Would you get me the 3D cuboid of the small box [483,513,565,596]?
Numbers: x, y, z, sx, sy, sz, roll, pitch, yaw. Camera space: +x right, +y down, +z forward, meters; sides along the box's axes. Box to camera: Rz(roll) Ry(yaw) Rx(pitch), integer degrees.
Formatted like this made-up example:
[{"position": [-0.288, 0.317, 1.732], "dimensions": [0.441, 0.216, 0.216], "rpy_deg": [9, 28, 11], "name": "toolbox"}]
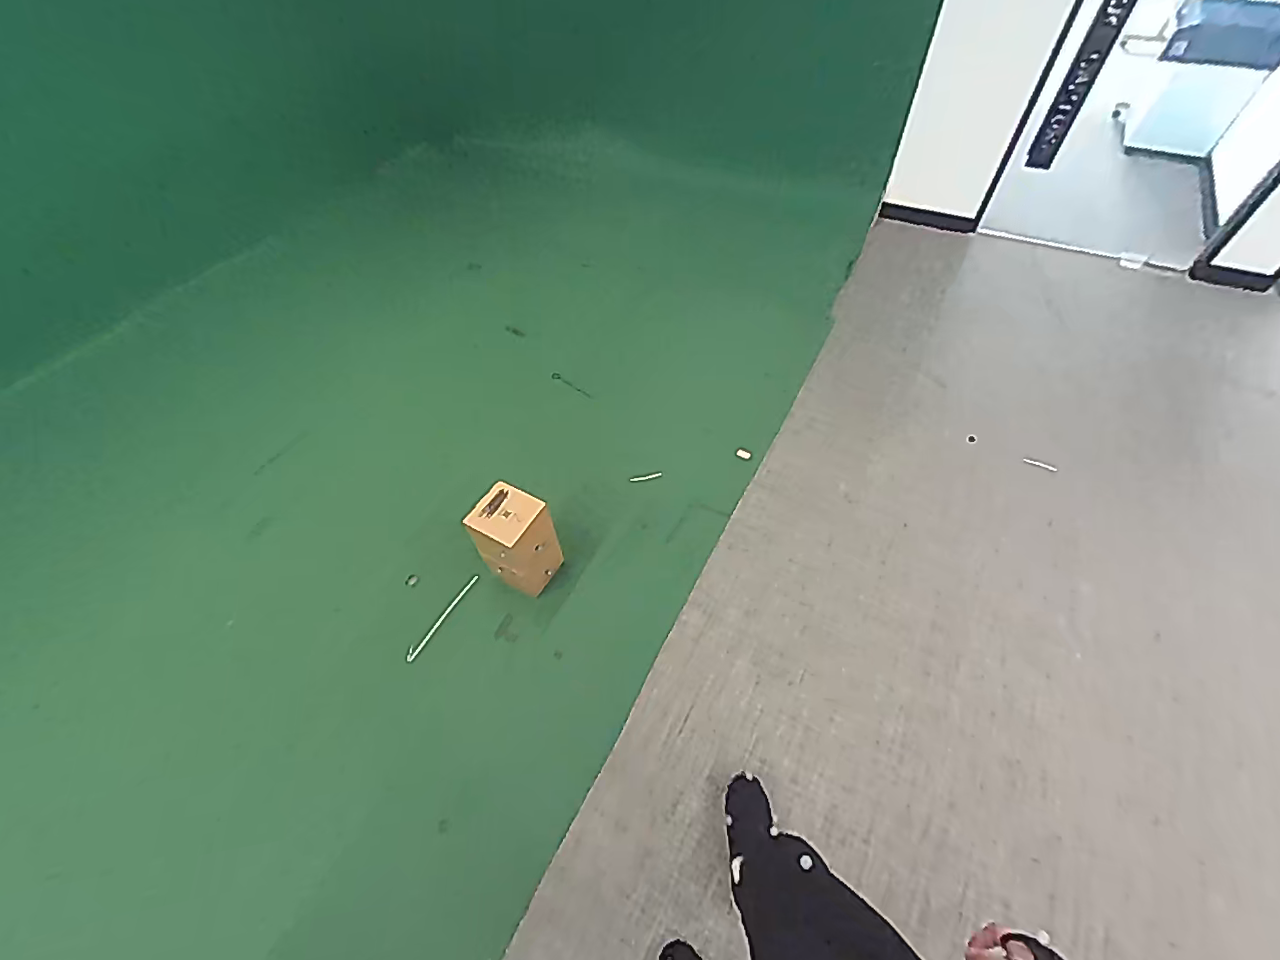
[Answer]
[{"position": [-0.360, 0.242, 1.713], "dimensions": [0.179, 0.176, 0.168], "rpy_deg": [25, 59, 20], "name": "small box"}]
